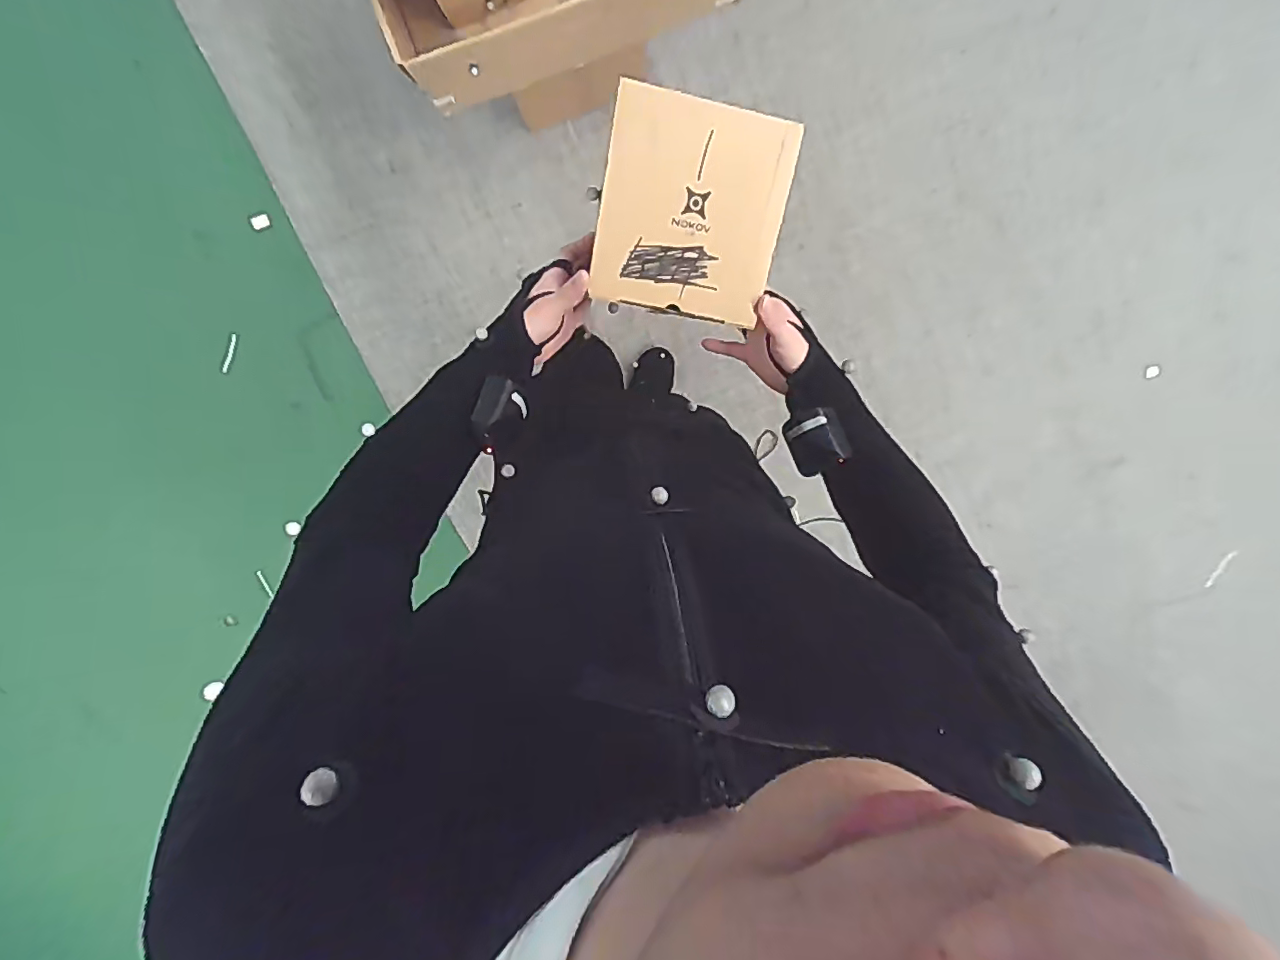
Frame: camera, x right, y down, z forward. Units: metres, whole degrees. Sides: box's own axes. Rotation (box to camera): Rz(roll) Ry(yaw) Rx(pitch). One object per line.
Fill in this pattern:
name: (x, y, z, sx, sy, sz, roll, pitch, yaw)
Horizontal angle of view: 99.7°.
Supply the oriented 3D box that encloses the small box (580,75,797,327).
small box: (0.035, -0.267, 0.558, 0.168, 0.176, 0.179, 9, 108, -8)
